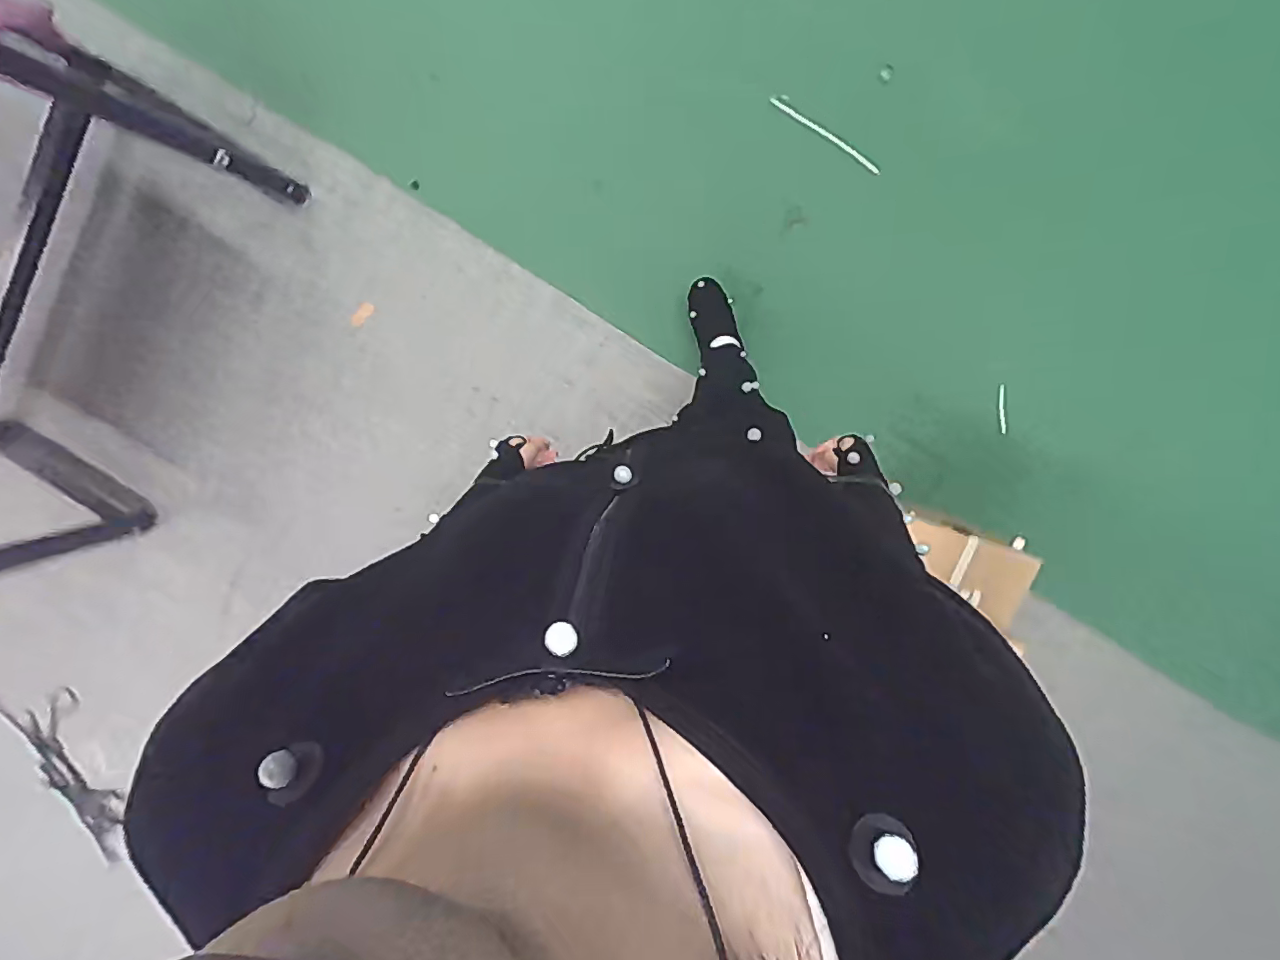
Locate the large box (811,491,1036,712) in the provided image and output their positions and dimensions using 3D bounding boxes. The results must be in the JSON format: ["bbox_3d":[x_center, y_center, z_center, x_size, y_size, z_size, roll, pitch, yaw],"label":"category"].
[{"bbox_3d":[0.666,0.284,1.351,0.320,0.320,0.408,19,101,1],"label":"large box"}]
